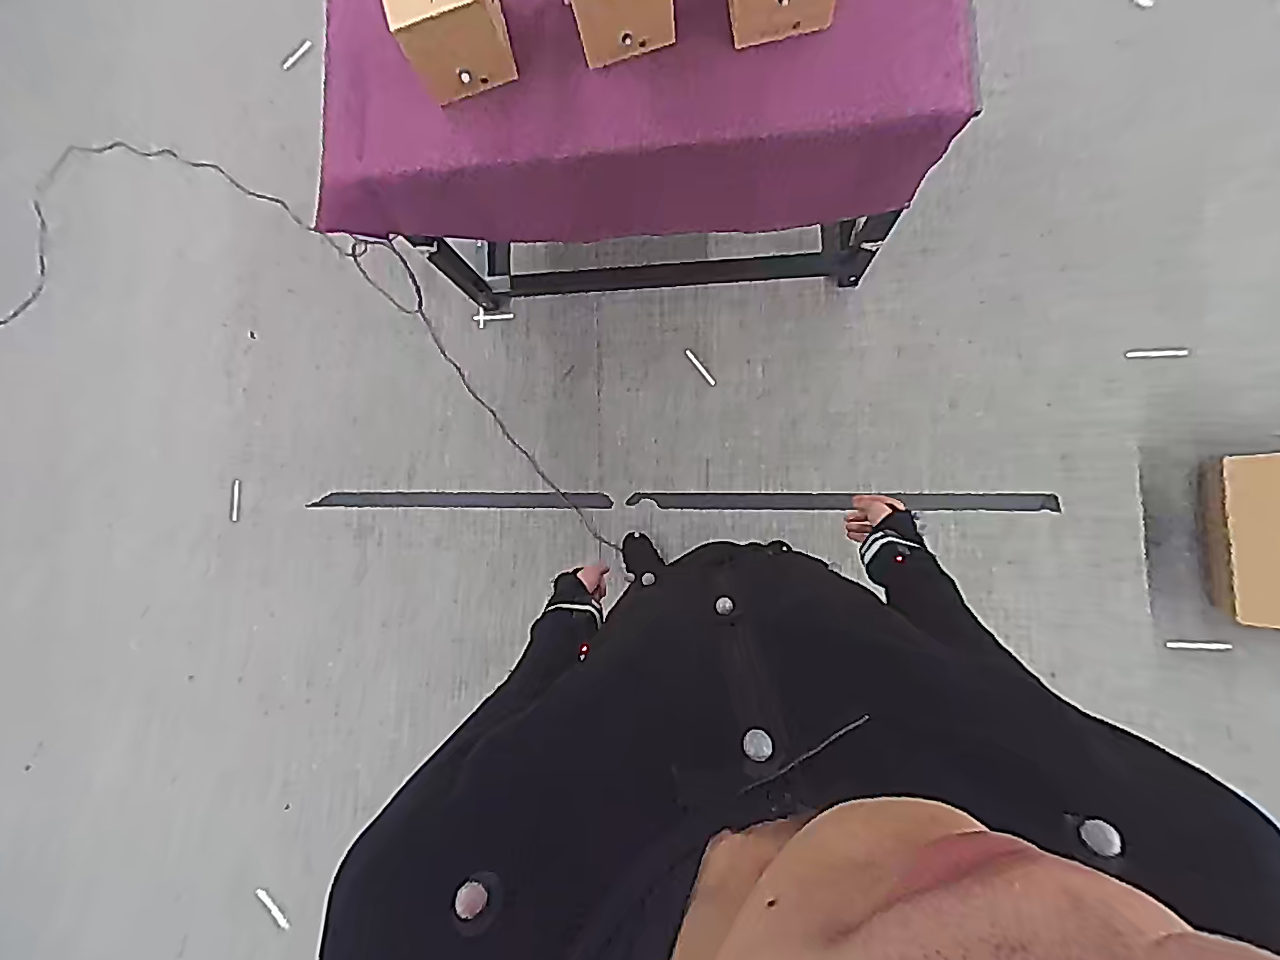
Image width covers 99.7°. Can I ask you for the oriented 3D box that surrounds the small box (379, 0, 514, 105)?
[{"bbox_3d":[-0.340,-0.817,0.950,0.168,0.176,0.179,-15,85,6],"label":"small box"}]

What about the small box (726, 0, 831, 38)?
[{"bbox_3d":[0.226,-0.868,0.878,0.168,0.176,0.179,-8,85,7],"label":"small box"}]
